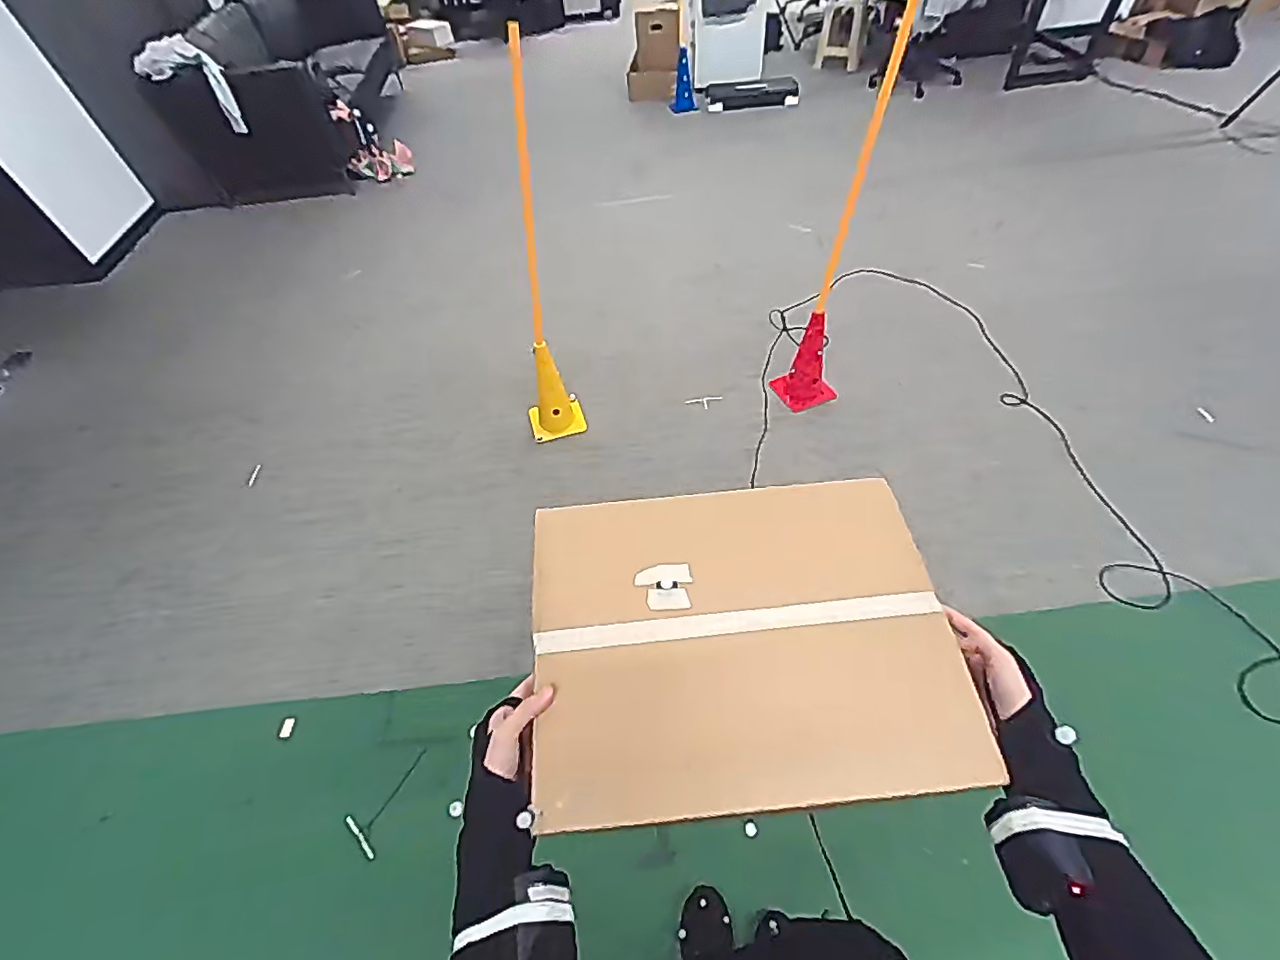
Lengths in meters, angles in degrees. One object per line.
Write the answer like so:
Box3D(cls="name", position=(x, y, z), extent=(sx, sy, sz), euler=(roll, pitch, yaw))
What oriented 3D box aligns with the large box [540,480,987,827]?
Box3D(cls="large box", position=(0.105, 0.228, 0.676), extent=(0.408, 0.320, 0.320), euler=(-6, 56, 0))
